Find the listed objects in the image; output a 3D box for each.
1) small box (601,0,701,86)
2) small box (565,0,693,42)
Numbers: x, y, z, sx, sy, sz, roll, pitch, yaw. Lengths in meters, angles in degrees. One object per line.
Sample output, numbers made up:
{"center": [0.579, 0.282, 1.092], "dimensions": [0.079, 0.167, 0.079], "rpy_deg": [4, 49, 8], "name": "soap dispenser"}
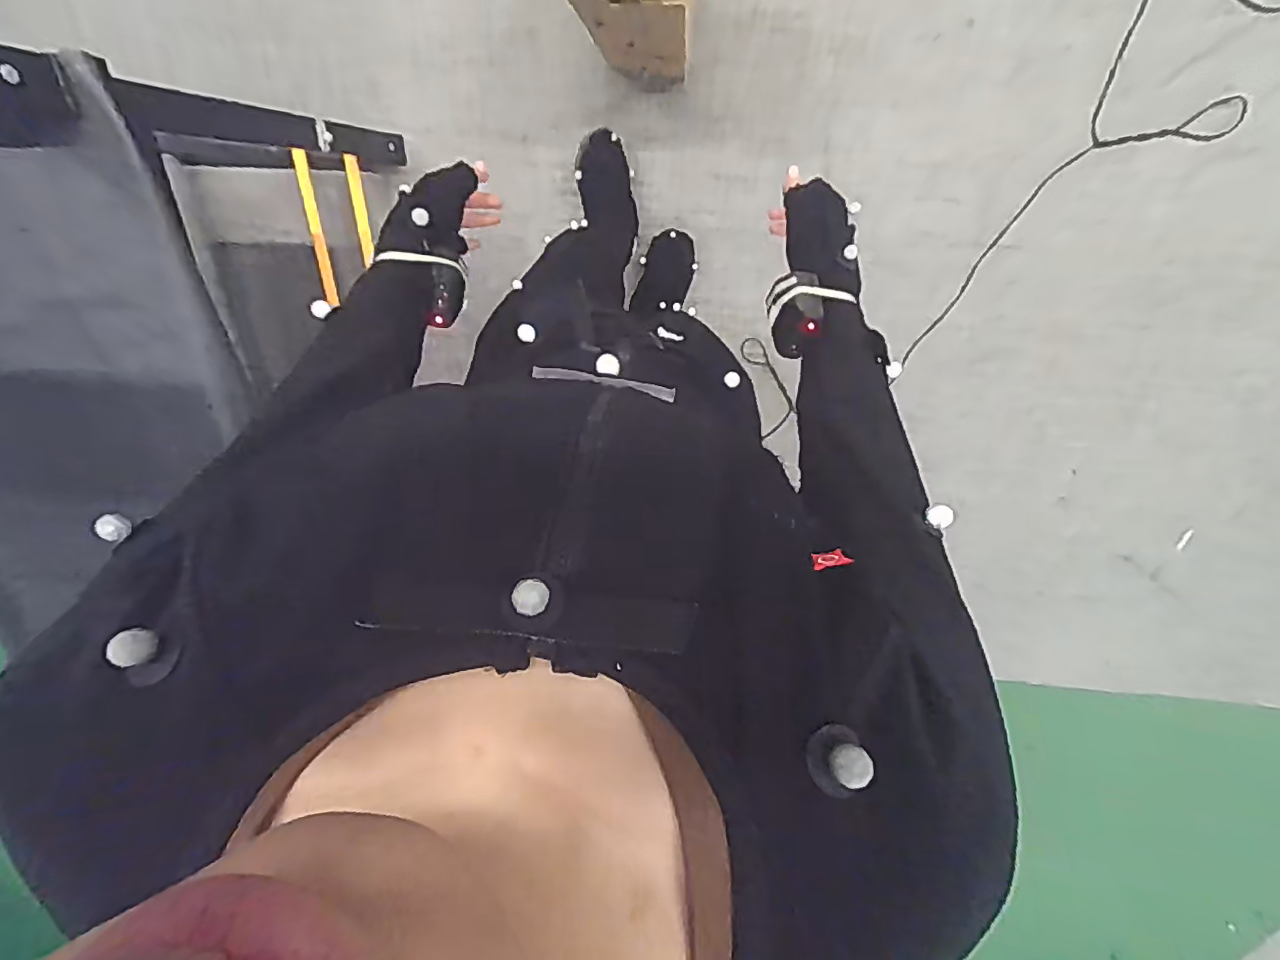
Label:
{"center": [0.026, -0.882, 1.029], "dimensions": [0.168, 0.176, 0.179], "rpy_deg": [10, 118, 1], "name": "small box"}
{"center": [-0.004, -0.732, 0.741], "dimensions": [0.168, 0.176, 0.179], "rpy_deg": [7, 118, 1], "name": "small box"}
